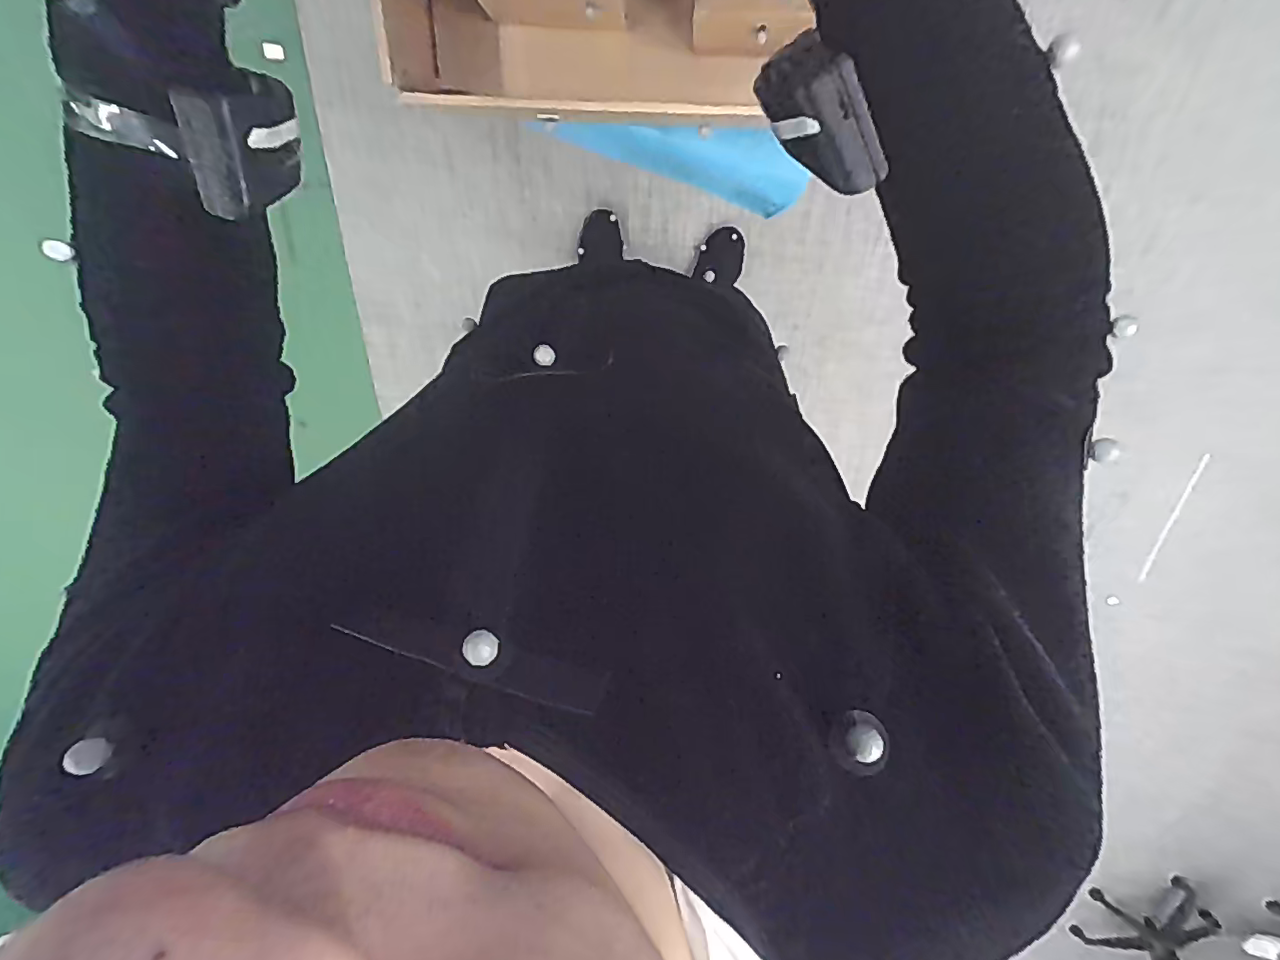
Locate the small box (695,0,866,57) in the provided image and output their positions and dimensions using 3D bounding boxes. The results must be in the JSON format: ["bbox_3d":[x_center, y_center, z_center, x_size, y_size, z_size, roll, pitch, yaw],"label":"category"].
[{"bbox_3d":[0.155,-0.591,0.595,0.179,0.176,0.168,5,116,3],"label":"small box"}]
